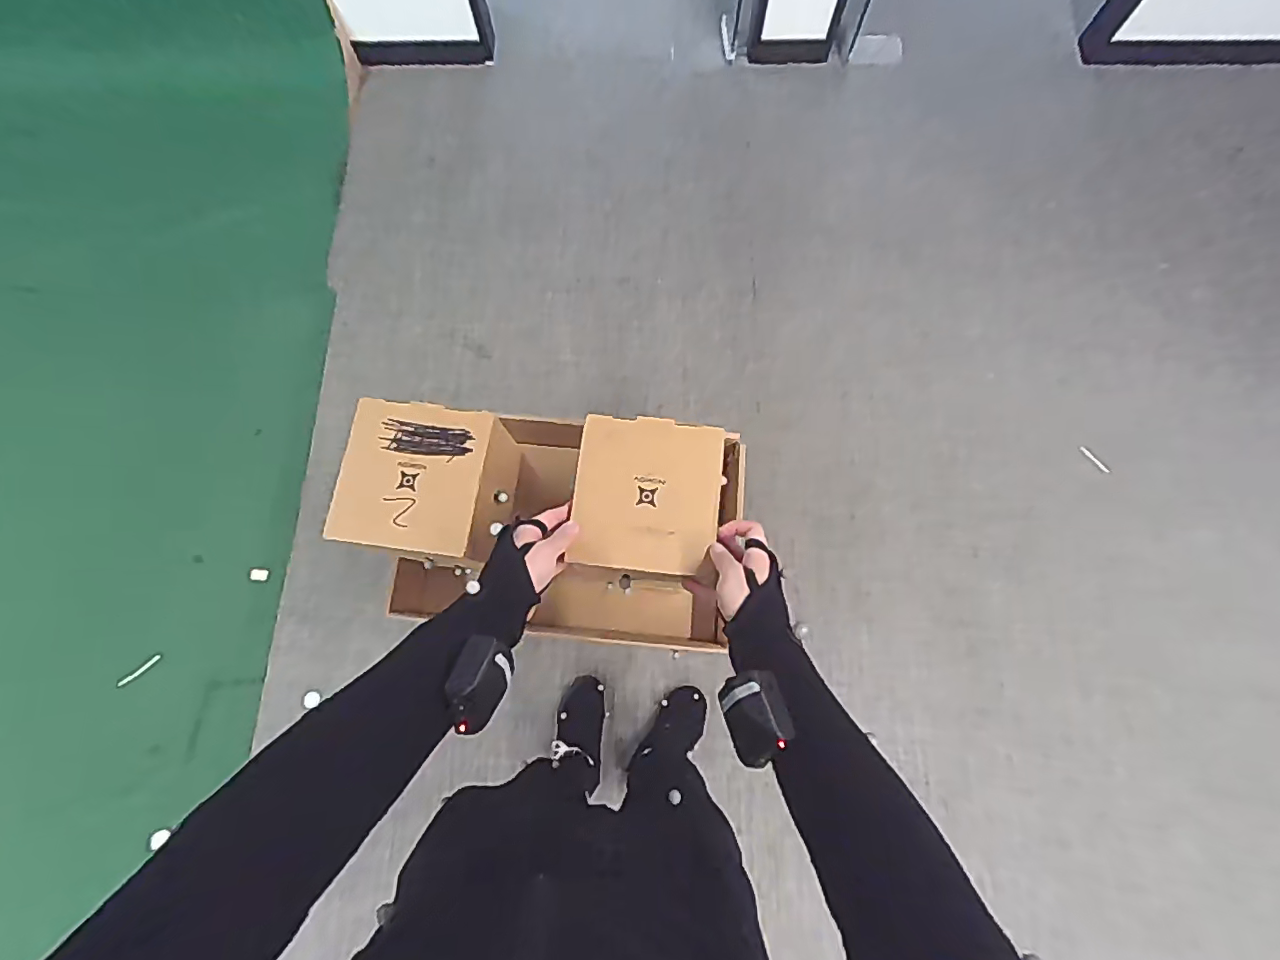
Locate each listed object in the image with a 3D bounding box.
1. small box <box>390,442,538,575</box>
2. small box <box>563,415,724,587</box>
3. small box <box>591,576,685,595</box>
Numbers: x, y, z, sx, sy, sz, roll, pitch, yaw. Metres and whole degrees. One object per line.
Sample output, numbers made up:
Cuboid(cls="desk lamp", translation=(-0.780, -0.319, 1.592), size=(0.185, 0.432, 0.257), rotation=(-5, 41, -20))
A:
Cuboid(cls="small box", translation=(-0.267, 0.054, 0.868), size=(0.168, 0.176, 0.179), rotation=(7, 76, 1))
Cuboid(cls="small box", translation=(0.007, 0.036, 0.685), size=(0.168, 0.176, 0.179), rotation=(7, 77, 3))
Cuboid(cls="small box", translation=(0.009, 0.119, 1.017), size=(0.168, 0.176, 0.179), rotation=(6, 75, 3))
